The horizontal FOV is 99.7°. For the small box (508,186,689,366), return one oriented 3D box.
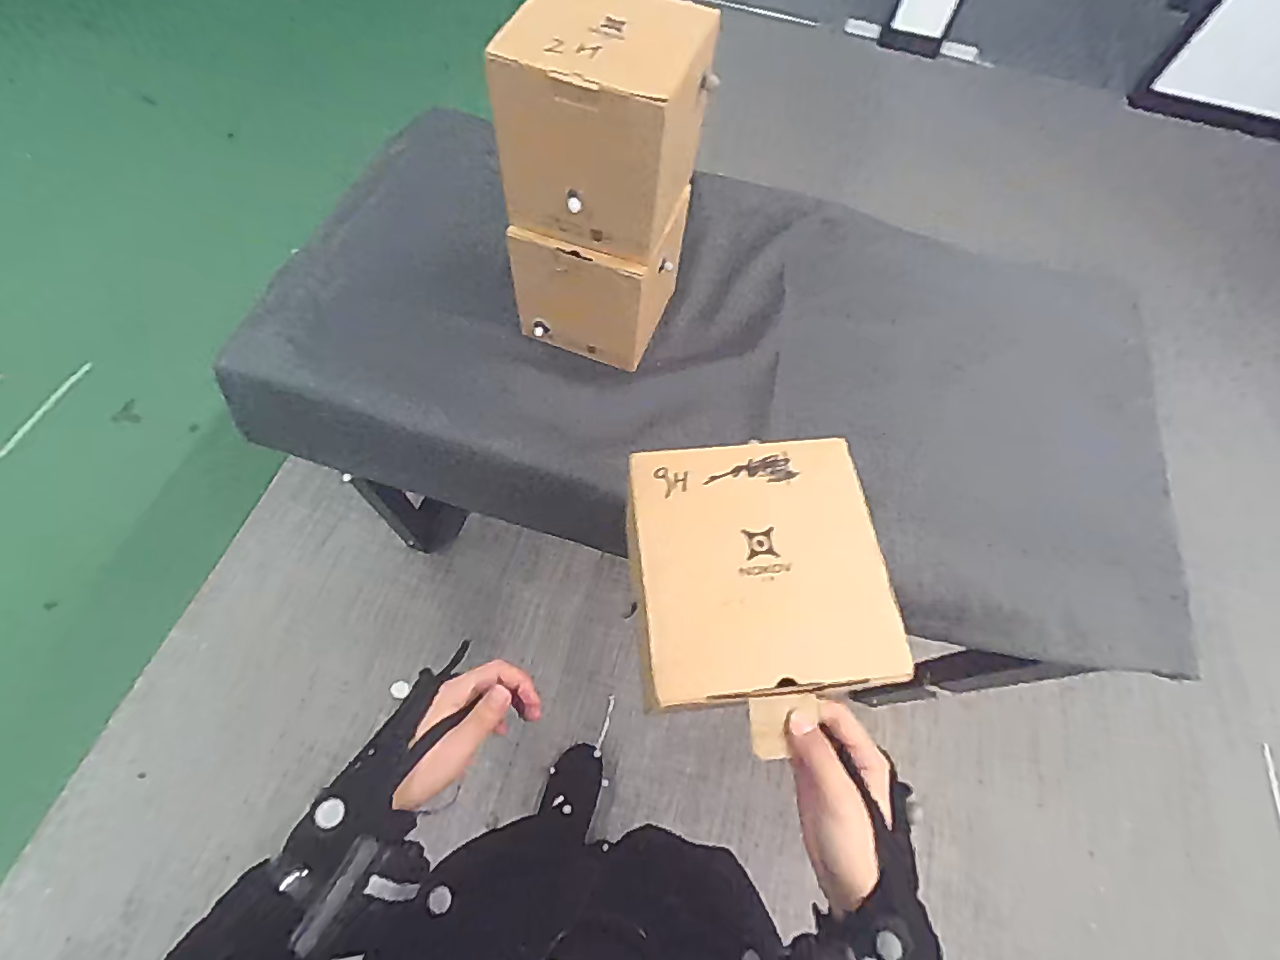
[{"bbox_3d":[-0.049,-0.279,0.705,0.168,0.176,0.179,20,63,5],"label":"small box"}]

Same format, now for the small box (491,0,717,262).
[{"bbox_3d":[-0.034,-0.368,0.566,0.168,0.176,0.179,18,63,5],"label":"small box"}]

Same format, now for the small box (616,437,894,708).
[{"bbox_3d":[0.071,0.085,0.445,0.168,0.176,0.179,-6,66,-5],"label":"small box"}]
